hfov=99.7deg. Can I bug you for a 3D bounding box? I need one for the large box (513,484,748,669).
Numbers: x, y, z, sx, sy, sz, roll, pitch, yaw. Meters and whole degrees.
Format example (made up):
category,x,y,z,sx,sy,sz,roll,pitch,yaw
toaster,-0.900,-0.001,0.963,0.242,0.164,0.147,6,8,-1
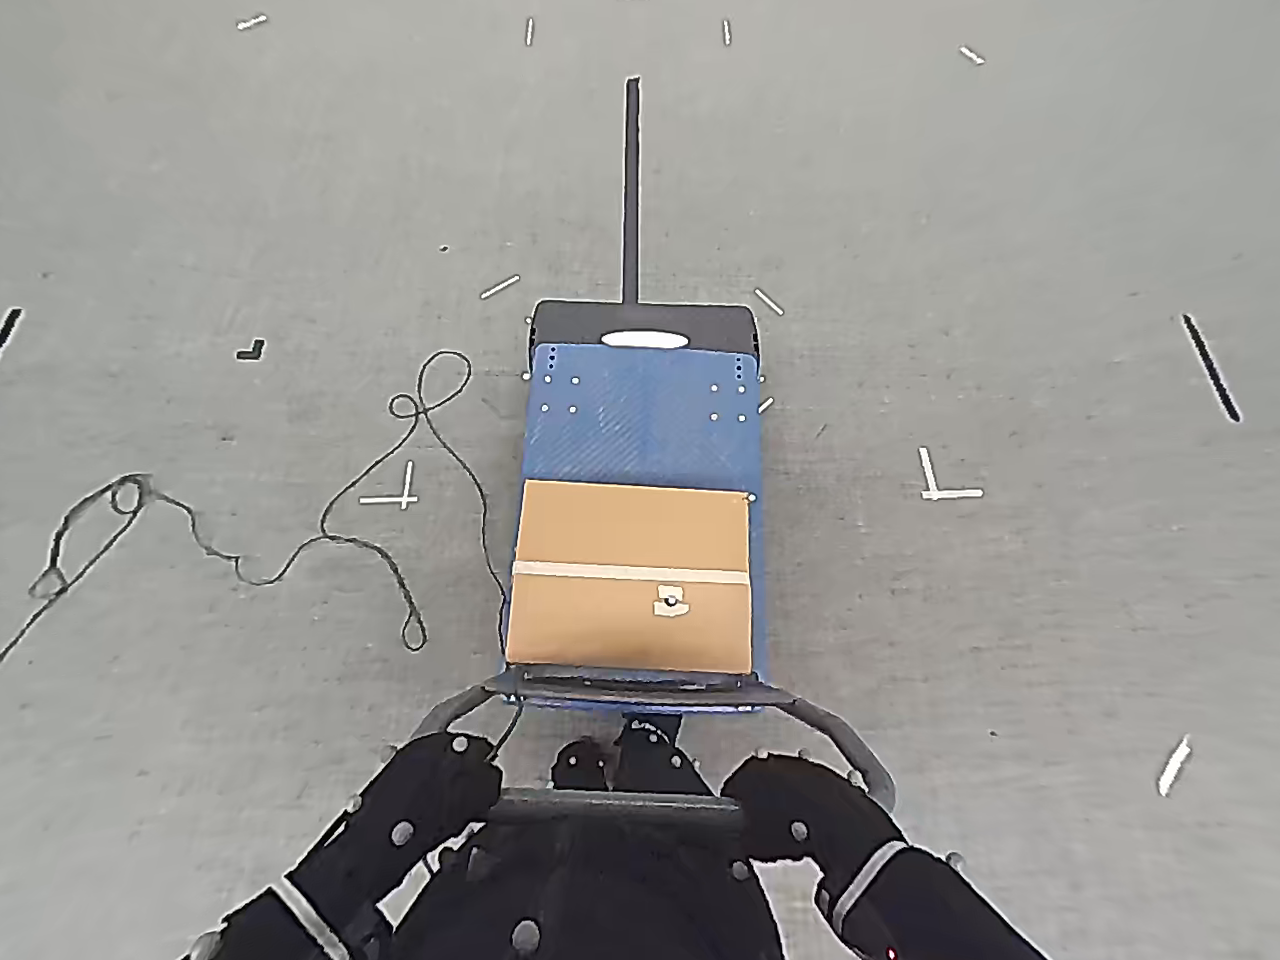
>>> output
category,x,y,z,sx,sy,sz,roll,pitch,yaw
large box,-0.019,0.210,1.091,0.408,0.320,0.320,4,72,-2
